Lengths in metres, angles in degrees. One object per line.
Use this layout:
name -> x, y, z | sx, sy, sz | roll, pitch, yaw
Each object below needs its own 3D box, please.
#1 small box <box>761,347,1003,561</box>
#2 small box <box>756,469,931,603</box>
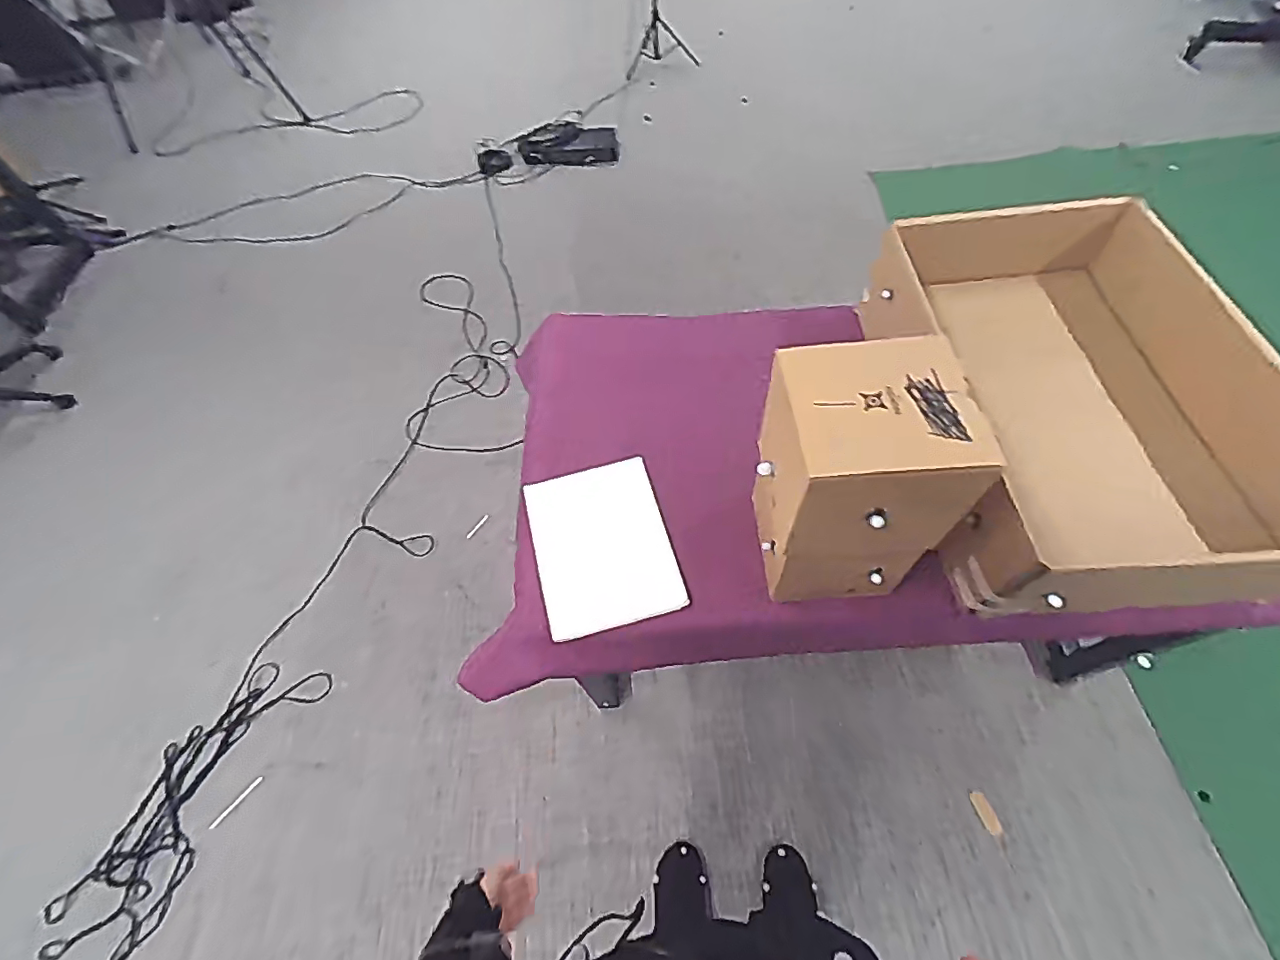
small box -> 0.238, -0.021, 0.588 | 0.179, 0.176, 0.168 | -3, 56, 3
small box -> 0.256, 0.059, 0.730 | 0.168, 0.176, 0.179 | -3, 56, 2
